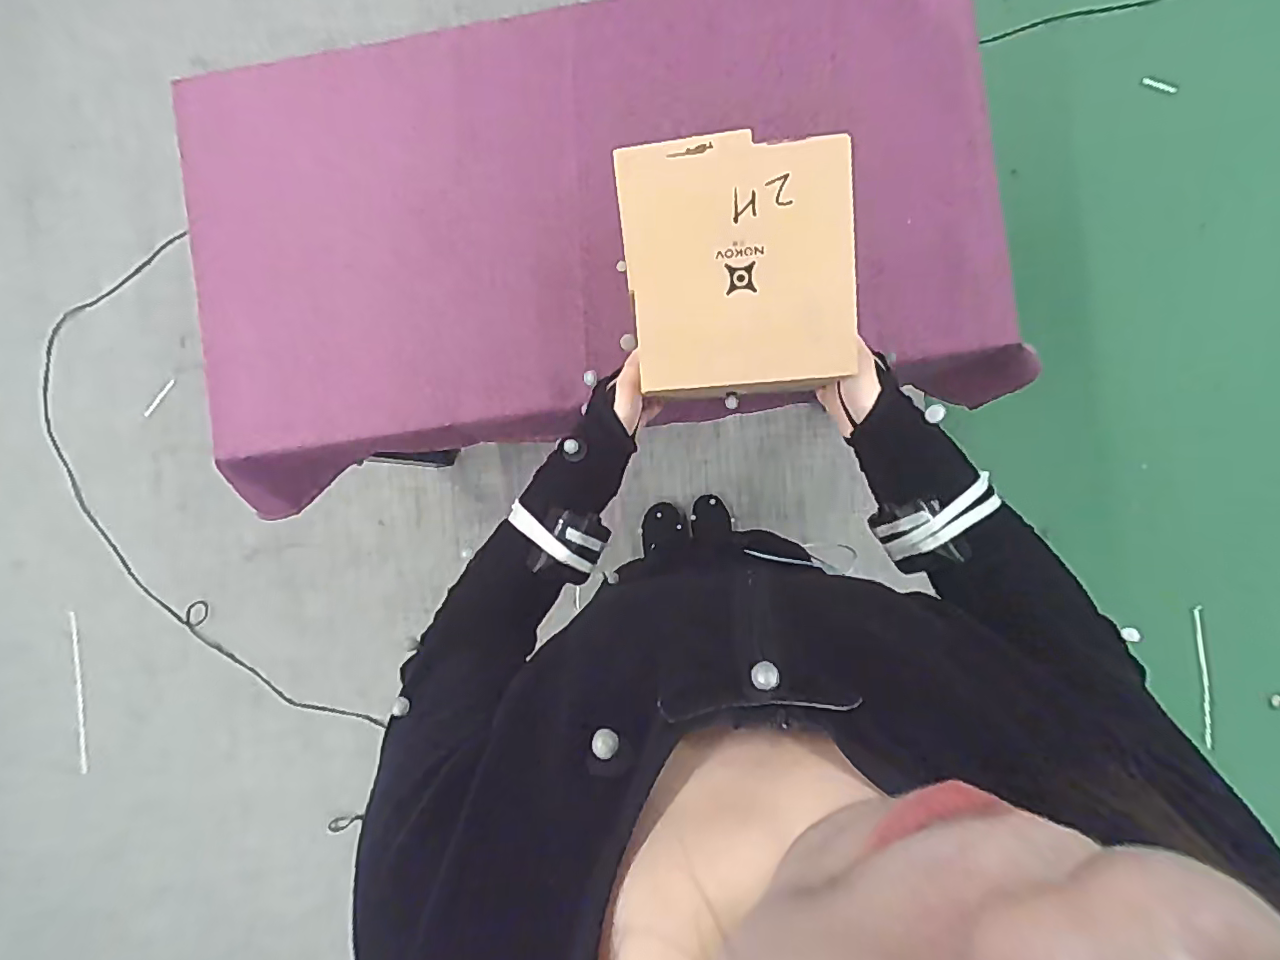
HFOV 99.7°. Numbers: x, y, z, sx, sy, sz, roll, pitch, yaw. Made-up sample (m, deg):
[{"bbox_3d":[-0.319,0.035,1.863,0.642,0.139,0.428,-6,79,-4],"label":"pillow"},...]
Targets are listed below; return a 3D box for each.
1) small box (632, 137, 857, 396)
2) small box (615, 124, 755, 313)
[{"bbox_3d":[0.086,-0.167,0.485,0.168,0.176,0.179,-3,96,5],"label":"small box"},{"bbox_3d":[0.064,-0.320,0.710,0.168,0.176,0.179,-6,90,3],"label":"small box"}]
